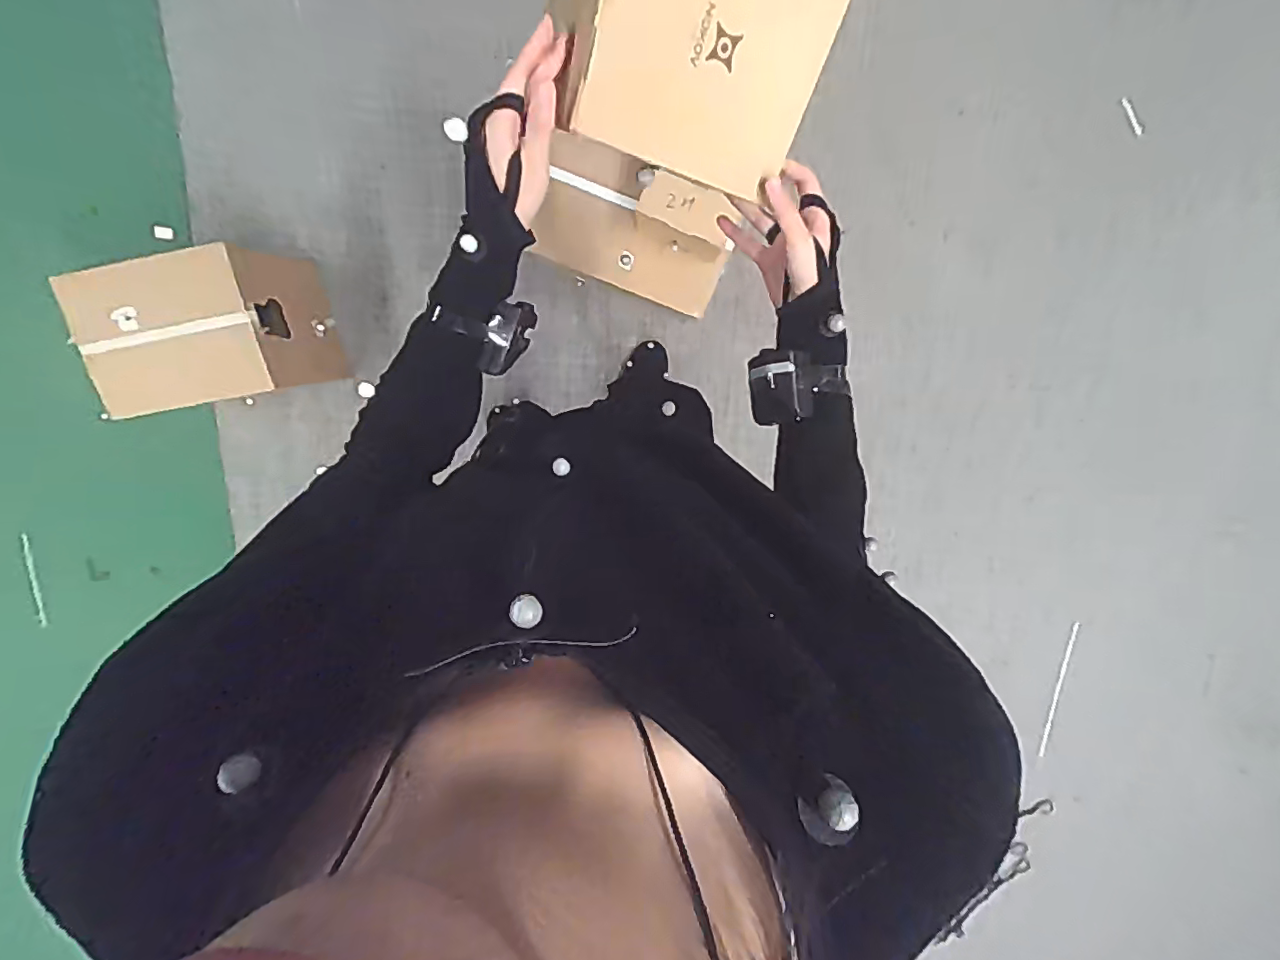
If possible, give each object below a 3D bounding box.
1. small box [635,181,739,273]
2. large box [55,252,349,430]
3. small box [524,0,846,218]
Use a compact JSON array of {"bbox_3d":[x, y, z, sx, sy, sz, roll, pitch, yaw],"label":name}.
[{"bbox_3d":[0.097,-0.503,0.985,0.168,0.176,0.179,22,102,-4],"label":"small box"},{"bbox_3d":[-1.011,-0.328,1.306,0.408,0.320,0.320,-9,103,5],"label":"large box"},{"bbox_3d":[0.020,-0.340,0.438,0.179,0.176,0.168,5,123,-27],"label":"small box"}]
